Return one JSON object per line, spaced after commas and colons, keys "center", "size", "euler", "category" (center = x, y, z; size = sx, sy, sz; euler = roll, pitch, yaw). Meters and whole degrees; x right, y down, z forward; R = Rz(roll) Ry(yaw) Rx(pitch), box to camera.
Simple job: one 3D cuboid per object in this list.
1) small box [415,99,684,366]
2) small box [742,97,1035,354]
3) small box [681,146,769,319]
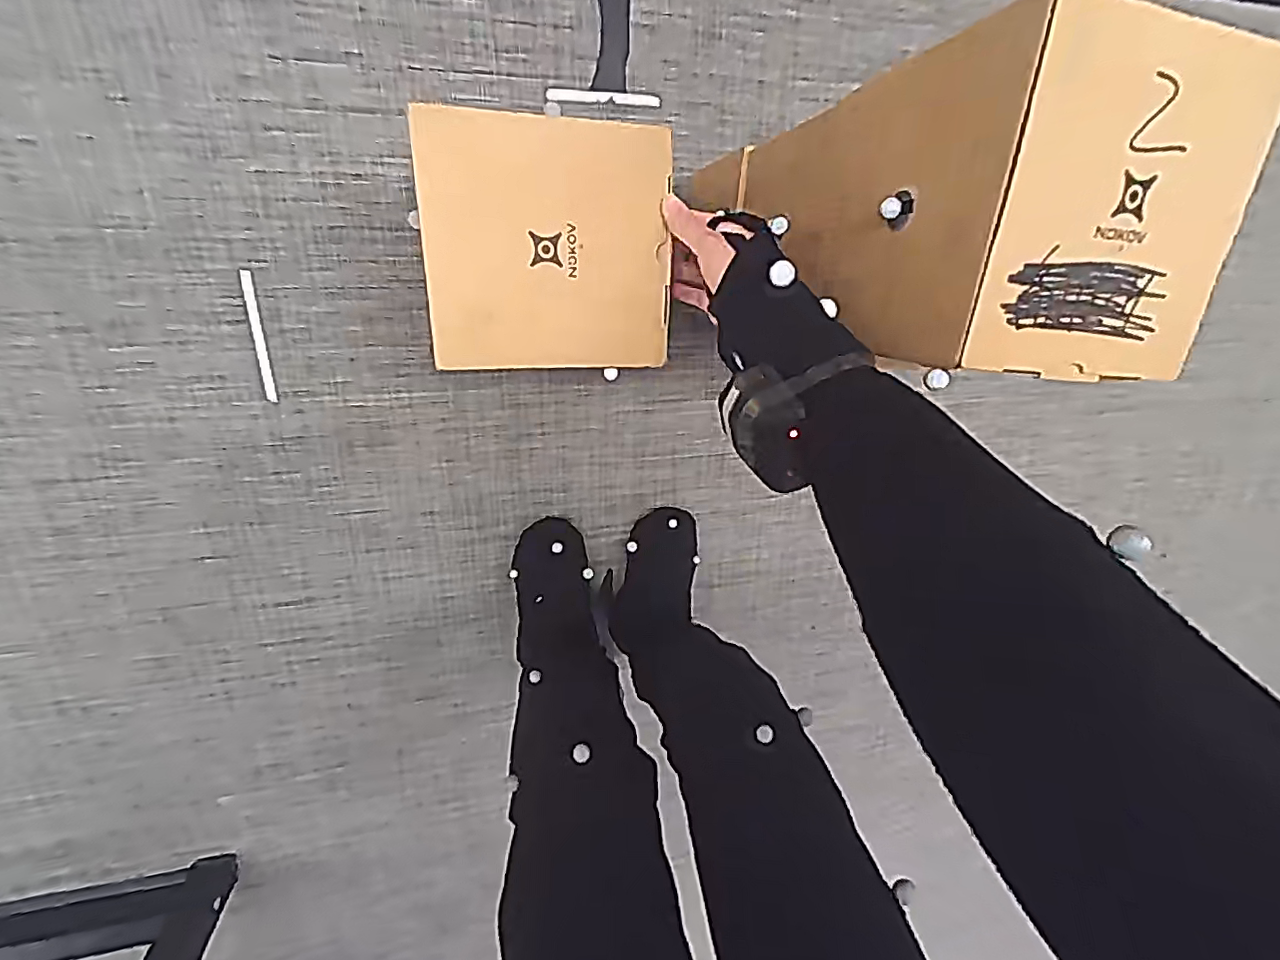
{"center": [-0.074, -0.187, 0.448], "size": [0.179, 0.176, 0.168], "euler": [-5, 111, -15], "category": "small box"}
{"center": [0.208, -0.220, 0.507], "size": [0.168, 0.176, 0.179], "euler": [-1, 109, -15], "category": "small box"}
{"center": [0.166, -0.281, 0.654], "size": [0.179, 0.176, 0.168], "euler": [0, 110, -16], "category": "small box"}
